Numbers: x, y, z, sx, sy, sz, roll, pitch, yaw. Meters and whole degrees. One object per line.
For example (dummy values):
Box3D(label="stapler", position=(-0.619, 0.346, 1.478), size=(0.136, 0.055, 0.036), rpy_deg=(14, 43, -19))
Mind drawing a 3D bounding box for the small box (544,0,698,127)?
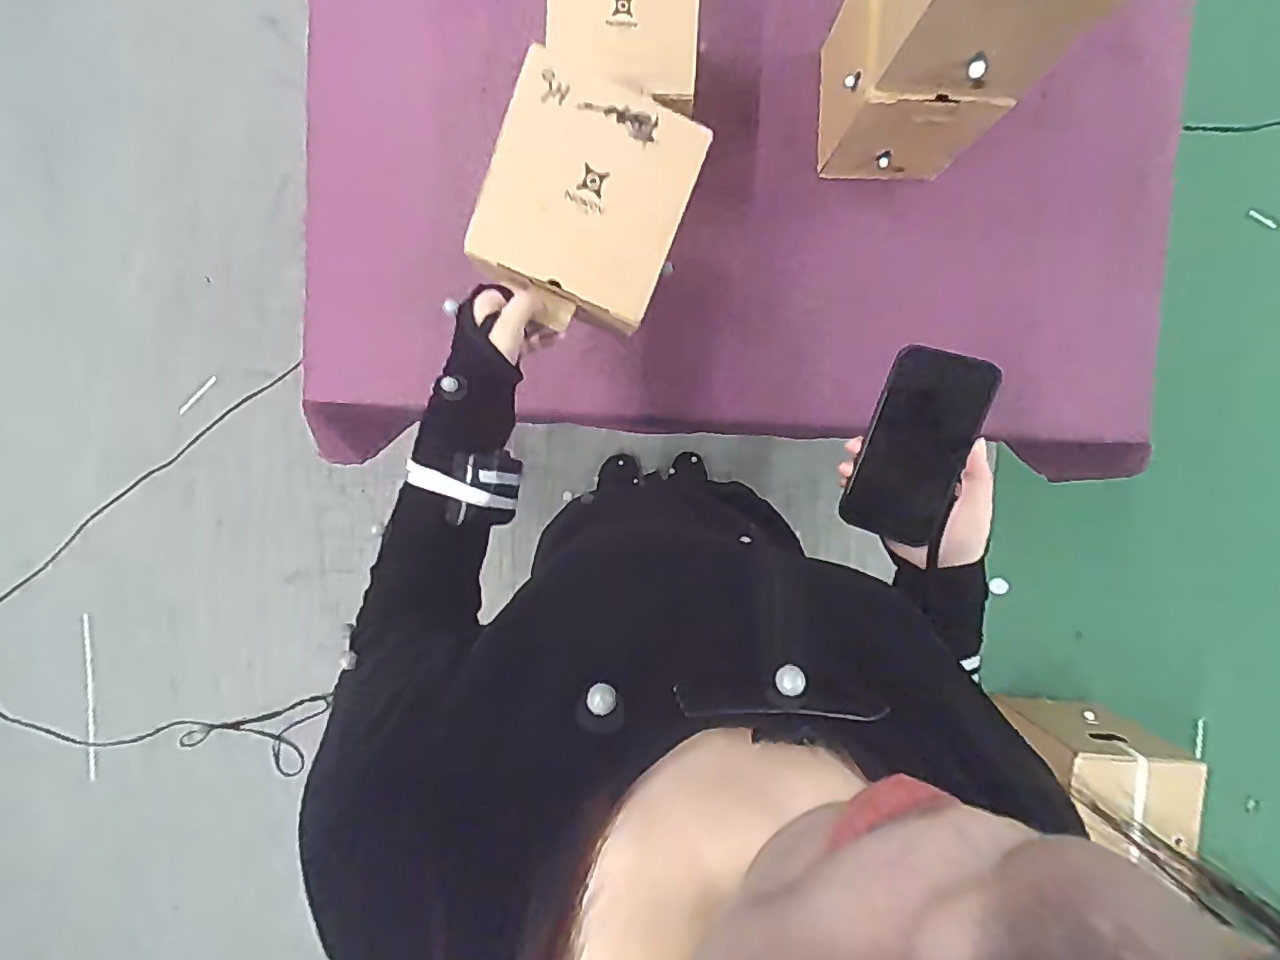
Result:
Box3D(label="small box", position=(-0.020, -0.514, 0.660), size=(0.168, 0.176, 0.179), rpy_deg=(3, 93, -1))

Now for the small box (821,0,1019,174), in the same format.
Box3D(label="small box", position=(0.330, -0.507, 0.662), size=(0.168, 0.176, 0.179), rpy_deg=(1, 94, 0))

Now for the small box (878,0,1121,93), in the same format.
Box3D(label="small box", position=(0.338, -0.504, 0.496), size=(0.168, 0.176, 0.179), rpy_deg=(3, 94, 0))

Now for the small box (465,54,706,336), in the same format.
Box3D(label="small box", position=(-0.053, -0.258, 0.544), size=(0.168, 0.176, 0.179), rpy_deg=(20, 98, -9))
